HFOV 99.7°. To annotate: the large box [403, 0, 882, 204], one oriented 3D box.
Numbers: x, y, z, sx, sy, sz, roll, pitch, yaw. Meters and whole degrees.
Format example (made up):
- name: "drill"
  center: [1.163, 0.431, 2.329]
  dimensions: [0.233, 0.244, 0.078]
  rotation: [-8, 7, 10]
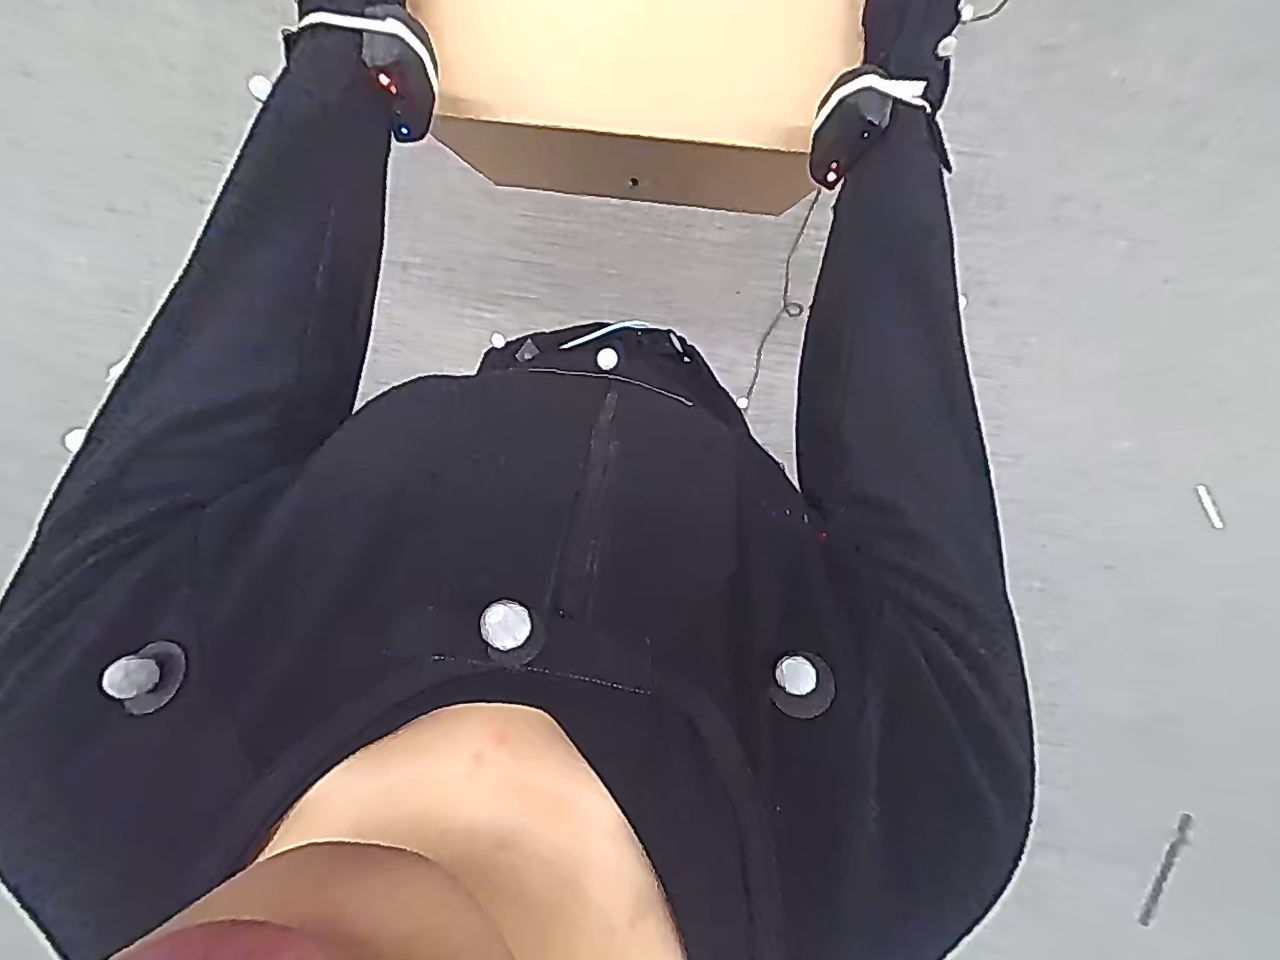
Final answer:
- name: "large box"
  center: [0.011, -0.497, 0.571]
  dimensions: [0.408, 0.320, 0.320]
  rotation: [6, 107, 0]
